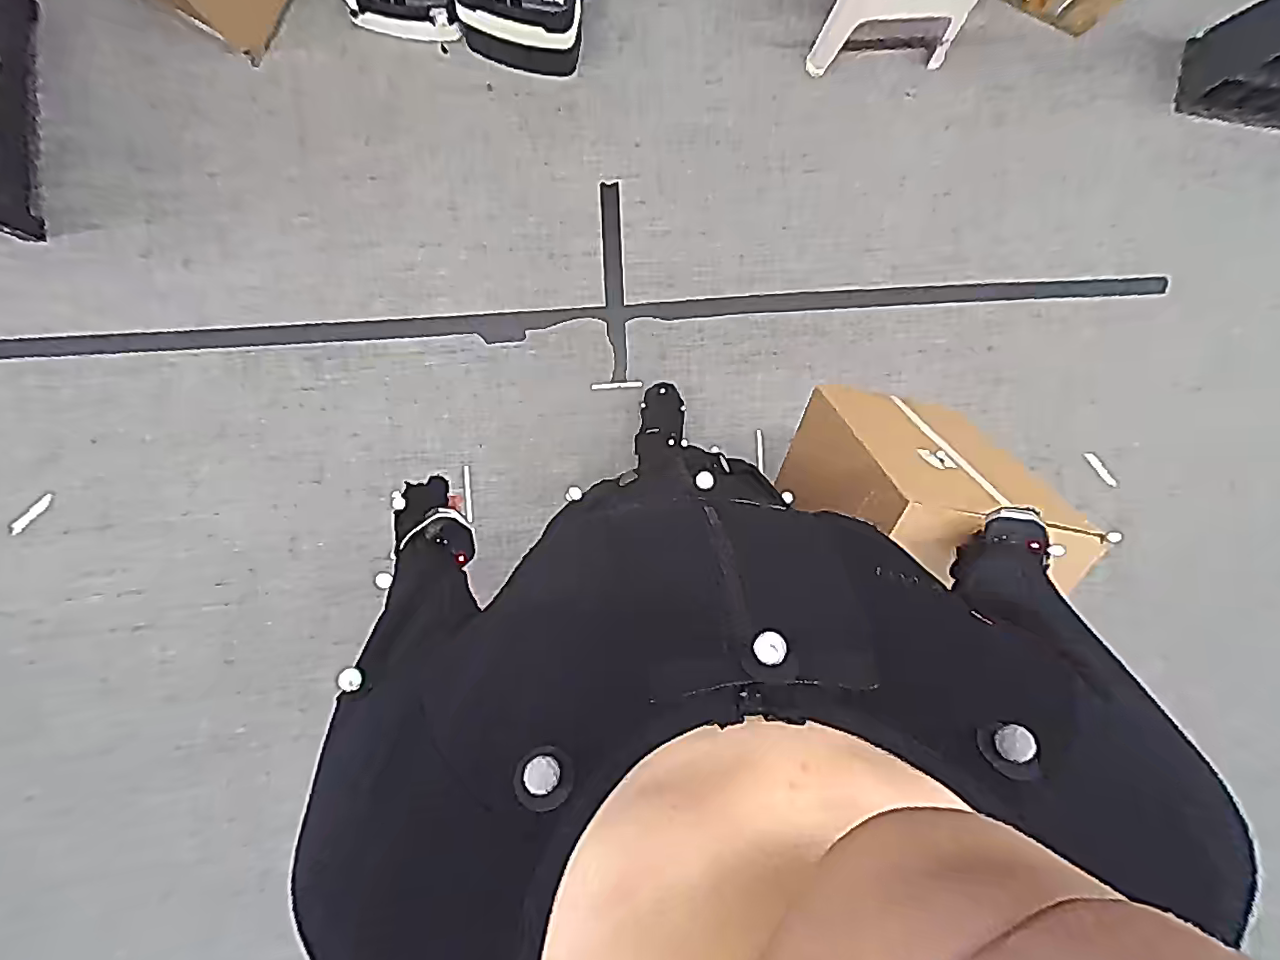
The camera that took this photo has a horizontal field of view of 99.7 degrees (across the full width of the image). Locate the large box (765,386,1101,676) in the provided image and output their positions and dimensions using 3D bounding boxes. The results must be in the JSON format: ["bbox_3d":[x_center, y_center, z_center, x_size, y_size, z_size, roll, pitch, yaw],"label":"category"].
[{"bbox_3d":[0.461,0.077,0.980,0.320,0.408,0.320,10,122,-8],"label":"large box"}]
